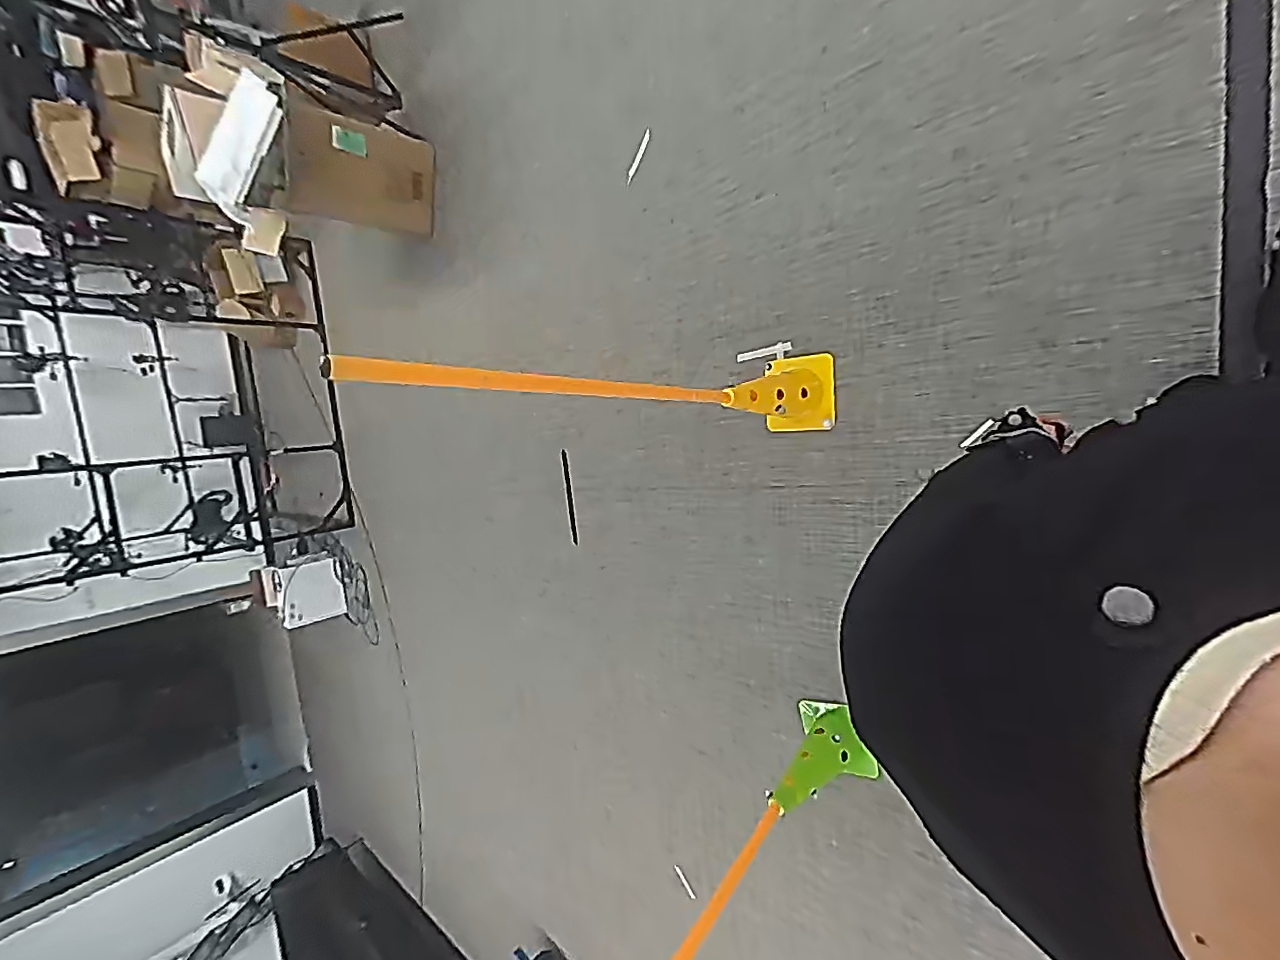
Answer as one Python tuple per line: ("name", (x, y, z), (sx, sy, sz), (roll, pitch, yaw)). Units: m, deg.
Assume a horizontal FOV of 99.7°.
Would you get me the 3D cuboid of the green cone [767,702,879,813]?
("green cone", (0.441, 0.750, 1.396), (0.200, 0.368, 0.202), (-15, 86, 44))
